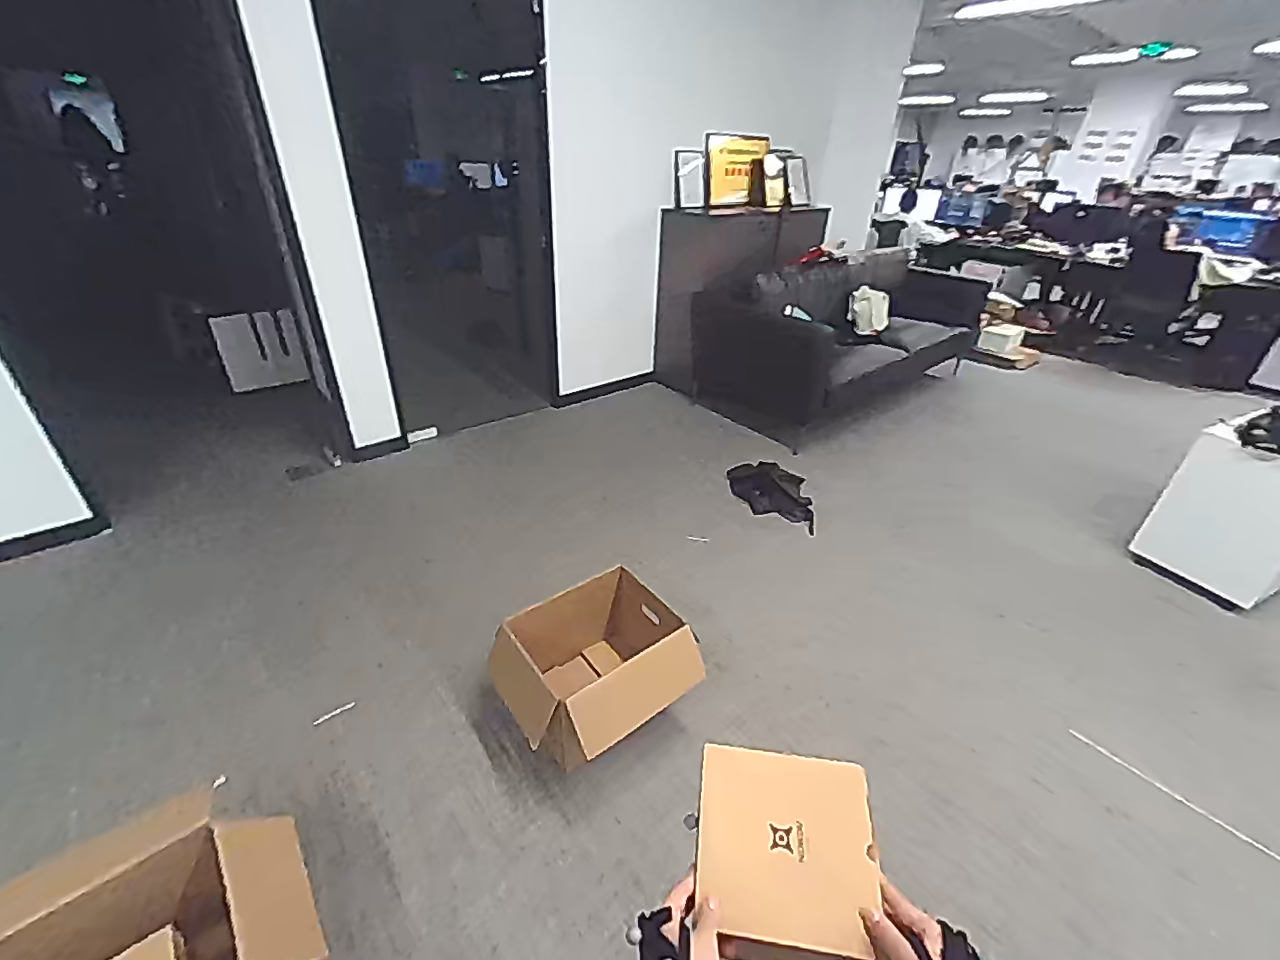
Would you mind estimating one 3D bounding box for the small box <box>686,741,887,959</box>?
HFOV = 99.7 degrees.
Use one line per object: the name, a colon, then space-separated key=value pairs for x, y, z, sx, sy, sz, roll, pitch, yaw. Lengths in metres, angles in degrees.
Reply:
small box: x=0.144 y=0.411 z=0.589 sx=0.179 sy=0.176 sz=0.168 roll=5 pitch=43 yaw=7
